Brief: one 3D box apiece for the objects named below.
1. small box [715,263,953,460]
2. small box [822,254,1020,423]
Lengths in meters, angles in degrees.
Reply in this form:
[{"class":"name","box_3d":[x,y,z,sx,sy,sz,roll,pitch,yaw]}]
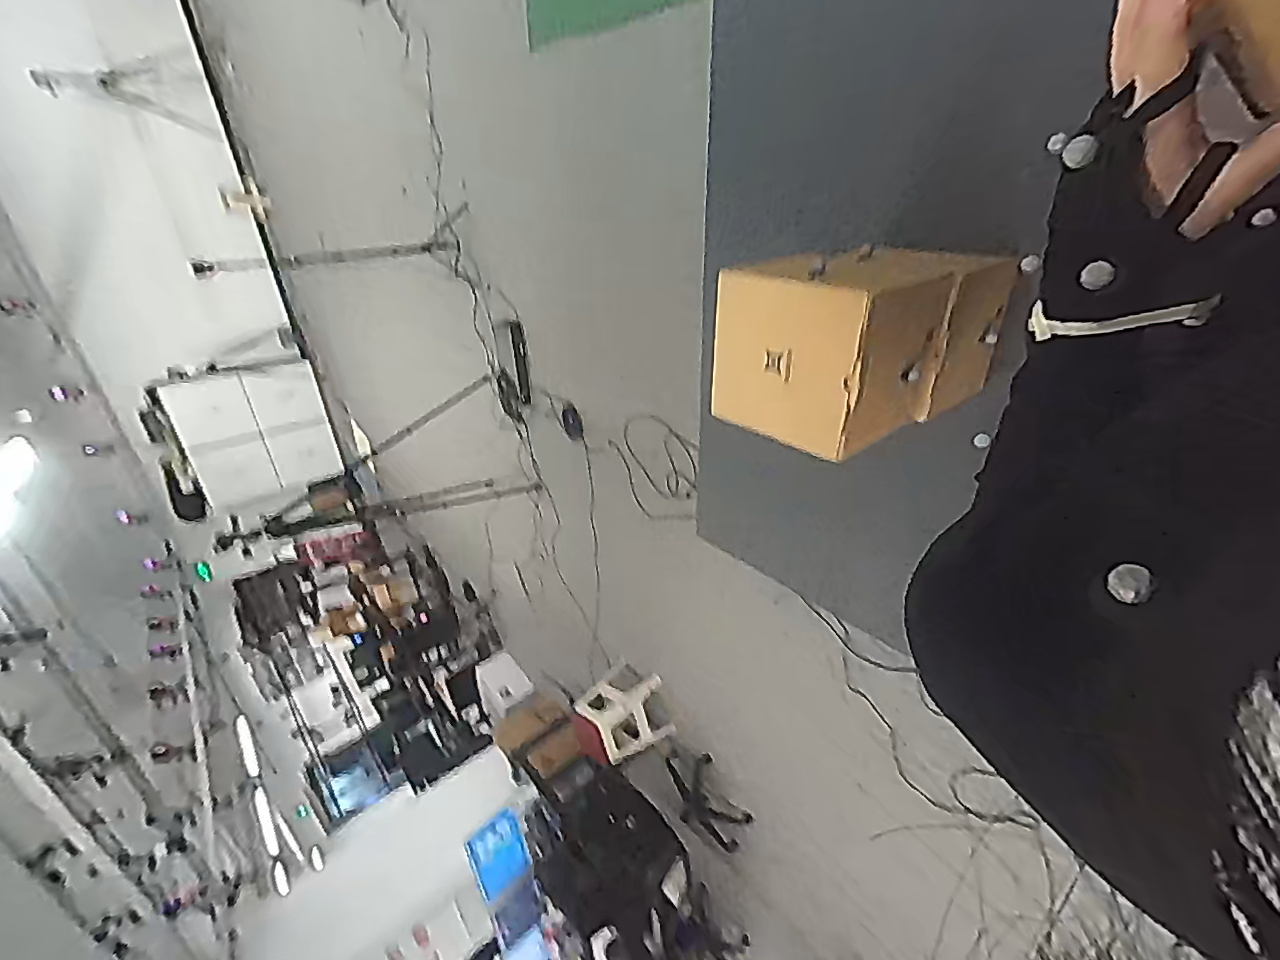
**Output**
[{"class":"small box","box_3d":[0.208,-0.144,0.604,0.179,0.176,0.168,29,130,43]},{"class":"small box","box_3d":[0.338,-0.191,0.689,0.179,0.176,0.168,28,130,43]}]
